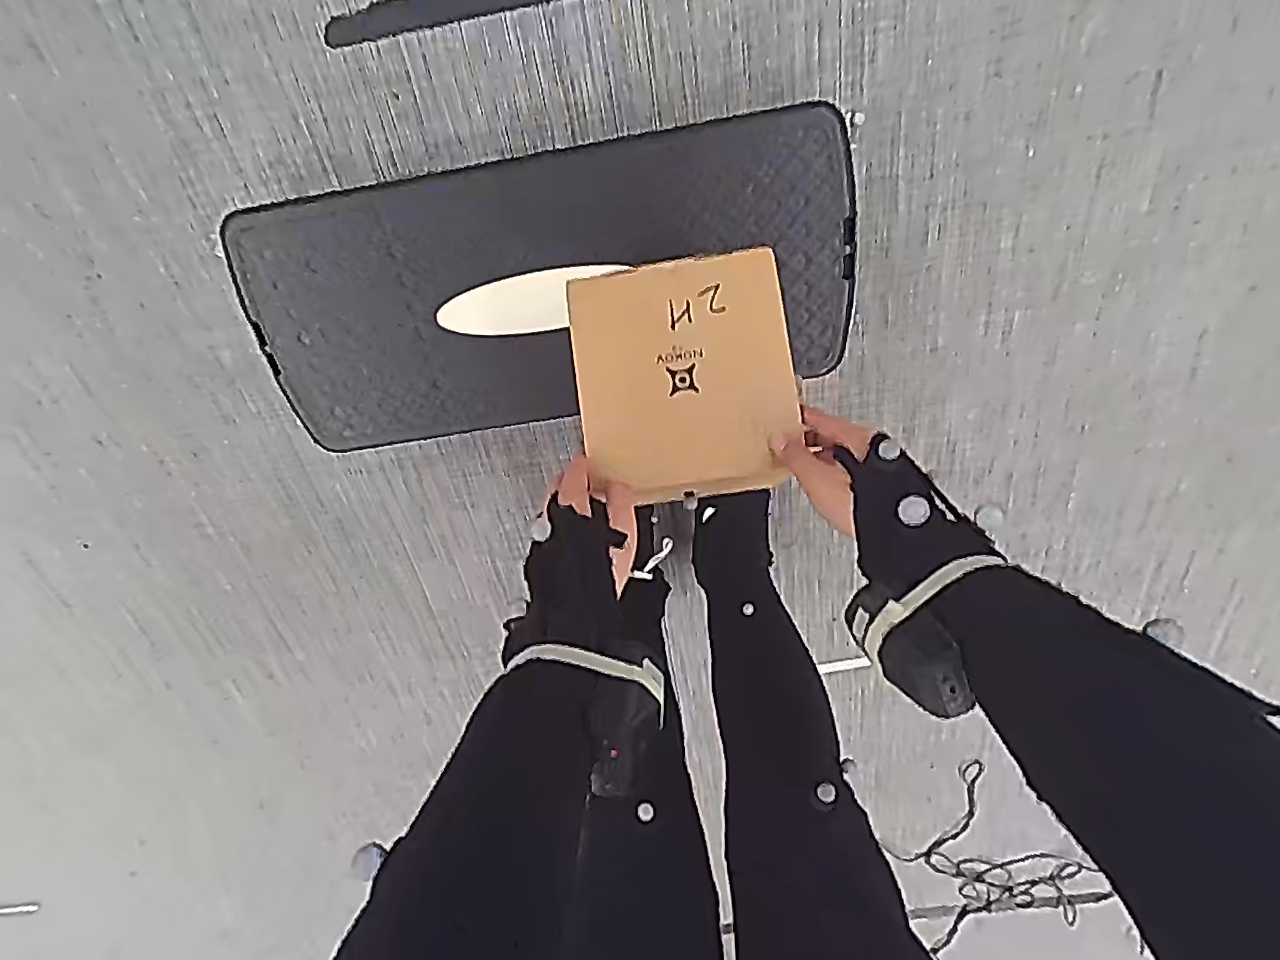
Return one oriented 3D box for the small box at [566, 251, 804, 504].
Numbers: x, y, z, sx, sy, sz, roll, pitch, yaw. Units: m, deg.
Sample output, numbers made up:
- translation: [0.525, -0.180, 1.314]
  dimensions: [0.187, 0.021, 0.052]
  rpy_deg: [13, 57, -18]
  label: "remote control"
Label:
- translation: [0.038, -0.073, 0.489]
  dimensions: [0.168, 0.176, 0.179]
  rpy_deg: [-7, 83, 3]
  label: "small box"
